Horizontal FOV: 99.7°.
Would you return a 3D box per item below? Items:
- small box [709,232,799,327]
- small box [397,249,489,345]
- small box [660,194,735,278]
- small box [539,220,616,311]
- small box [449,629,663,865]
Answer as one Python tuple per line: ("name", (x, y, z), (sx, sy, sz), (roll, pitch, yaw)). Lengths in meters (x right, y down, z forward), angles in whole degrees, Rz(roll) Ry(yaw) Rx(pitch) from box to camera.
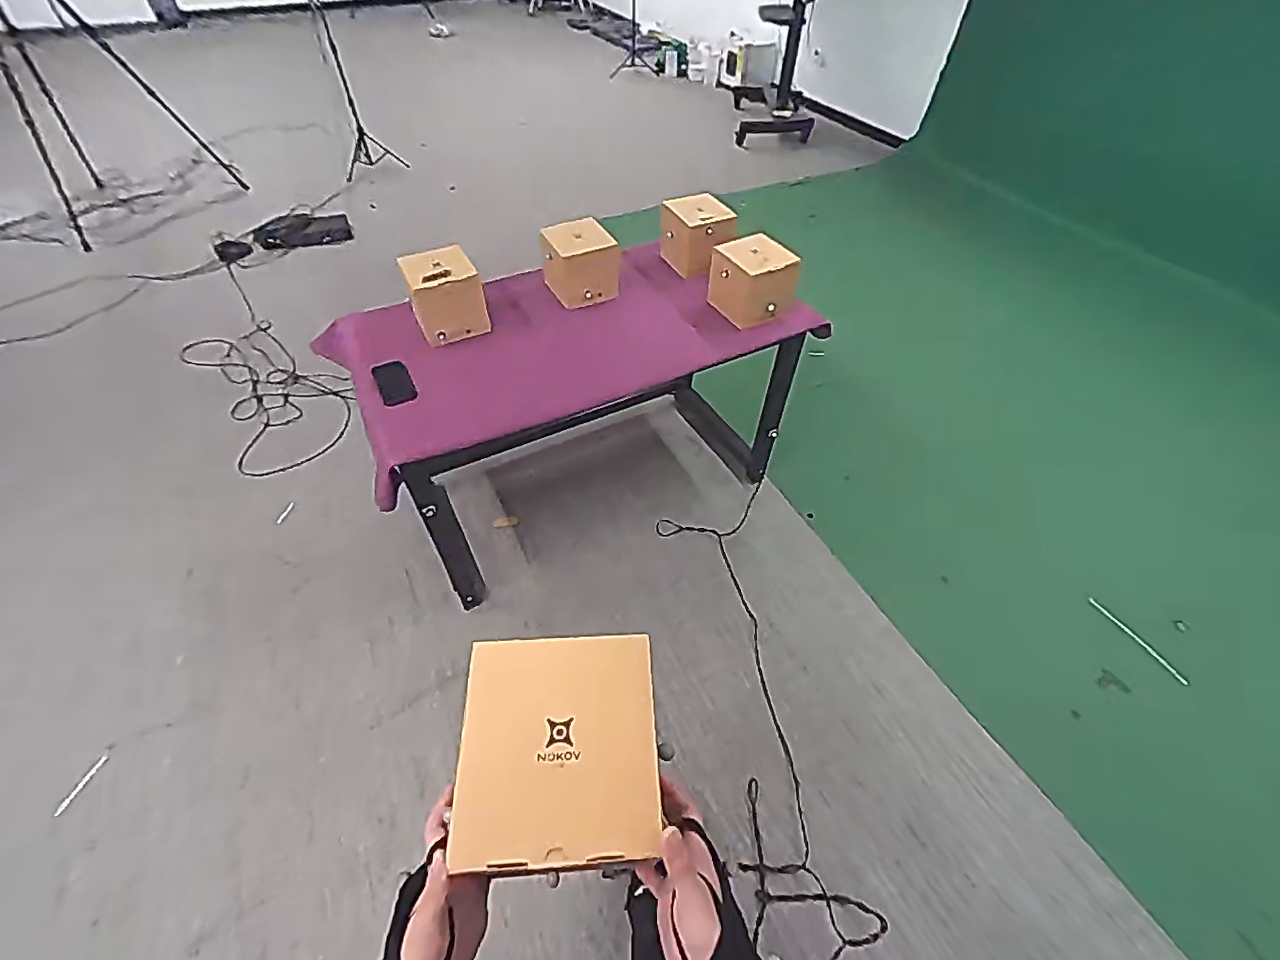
("small box", (0.305, -0.551, 1.493), (0.168, 0.176, 0.179), (-24, 54, -17))
("small box", (-0.515, -0.476, 1.427), (0.168, 0.176, 0.179), (-23, 53, -18))
("small box", (0.169, -0.752, 1.665), (0.168, 0.176, 0.179), (-21, 53, -16))
("small box", (-0.177, -0.613, 1.549), (0.168, 0.176, 0.179), (-22, 54, -17))
("small box", (-0.071, 0.260, 0.522), (0.168, 0.176, 0.179), (-2, 55, -4))
